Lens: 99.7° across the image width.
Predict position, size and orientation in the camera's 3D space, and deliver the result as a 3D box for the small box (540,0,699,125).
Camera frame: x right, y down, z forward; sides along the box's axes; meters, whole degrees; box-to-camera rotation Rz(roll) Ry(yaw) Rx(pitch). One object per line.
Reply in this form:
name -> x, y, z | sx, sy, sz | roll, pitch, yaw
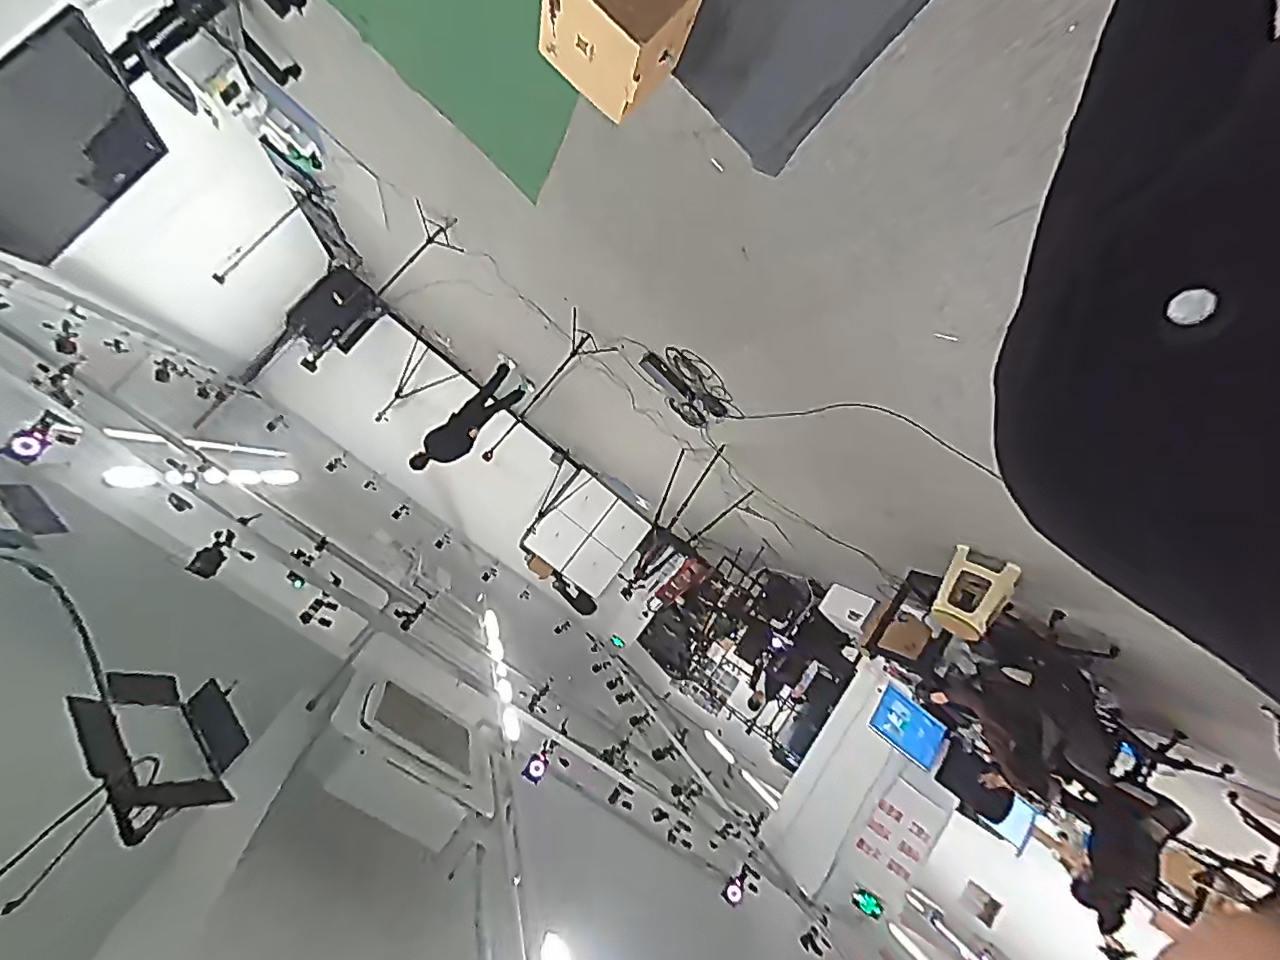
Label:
small box -> -0.031, -0.720, 0.841 | 0.179, 0.176, 0.168 | 39, 169, -9
